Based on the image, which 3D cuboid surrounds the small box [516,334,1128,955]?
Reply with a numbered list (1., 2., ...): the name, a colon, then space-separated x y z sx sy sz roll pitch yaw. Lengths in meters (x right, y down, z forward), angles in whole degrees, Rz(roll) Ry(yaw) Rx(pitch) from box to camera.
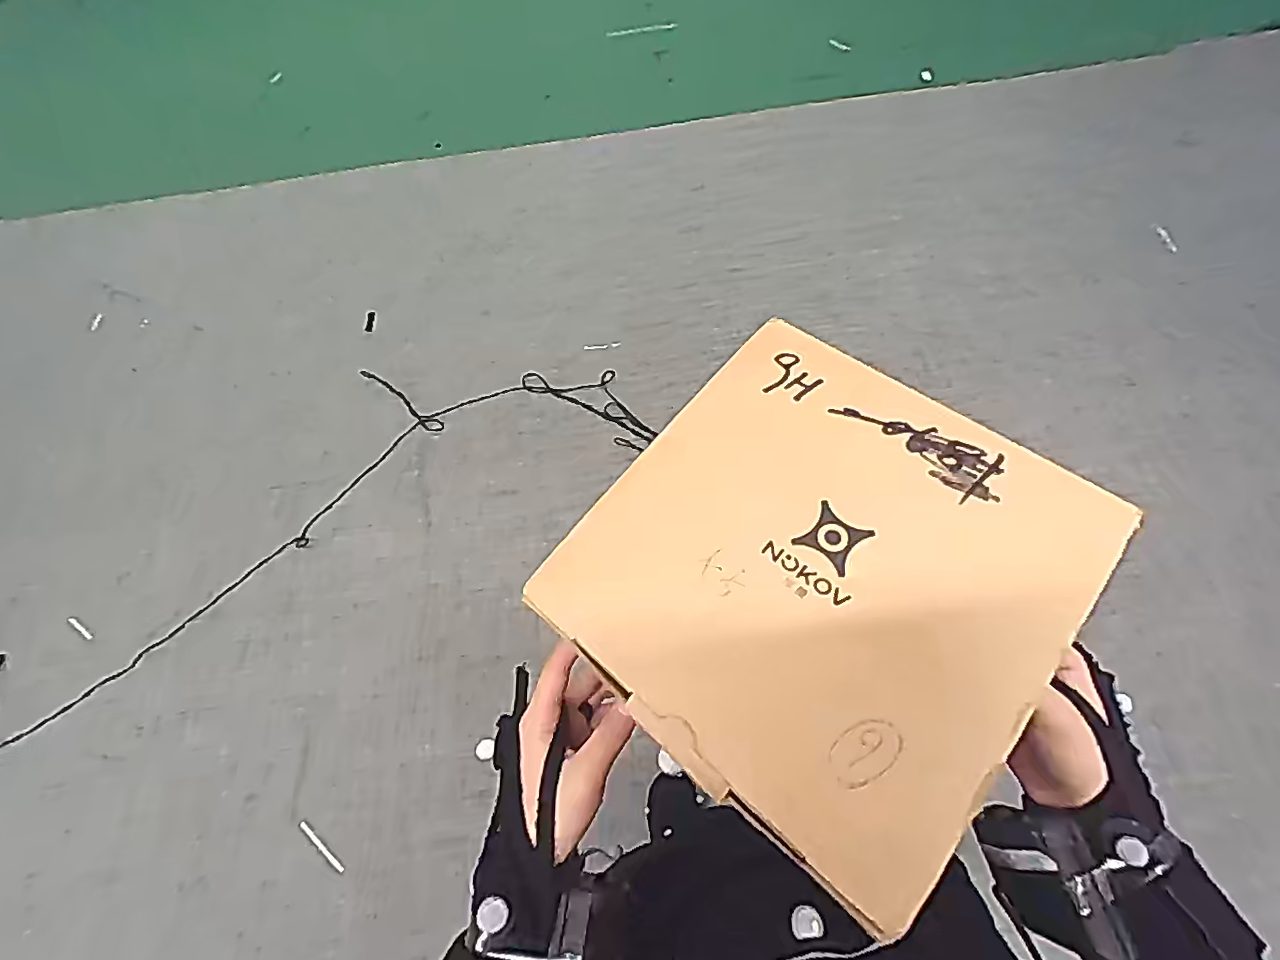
1. small box: 0.075 0.069 0.279 0.168 0.176 0.179 36 75 22
